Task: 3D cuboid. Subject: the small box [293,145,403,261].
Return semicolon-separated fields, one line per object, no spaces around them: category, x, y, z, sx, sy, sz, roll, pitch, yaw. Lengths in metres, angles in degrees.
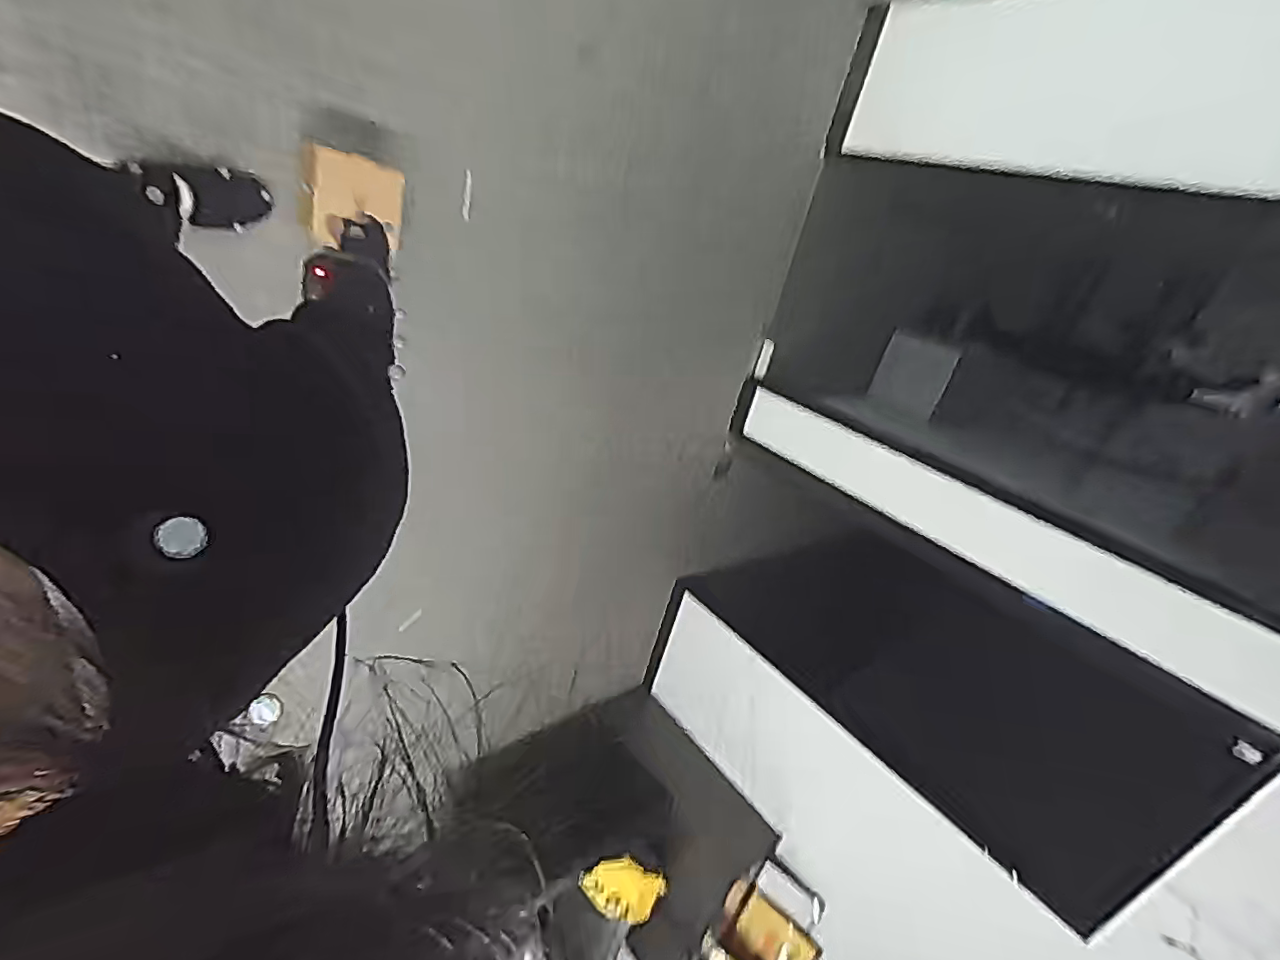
small box;-0.635;-0.598;1.168;0.168;0.176;0.179;-3;120;-44
